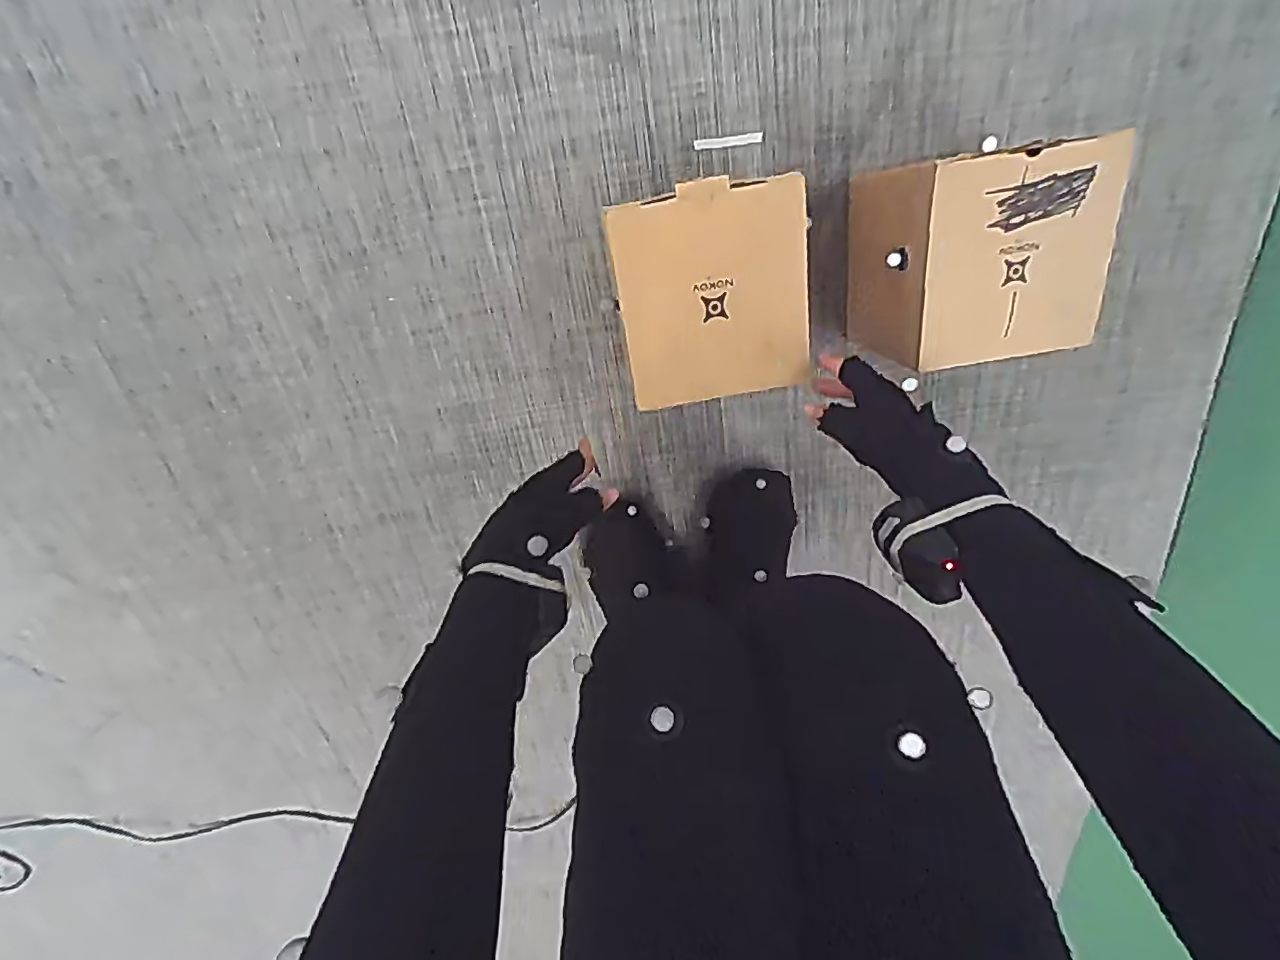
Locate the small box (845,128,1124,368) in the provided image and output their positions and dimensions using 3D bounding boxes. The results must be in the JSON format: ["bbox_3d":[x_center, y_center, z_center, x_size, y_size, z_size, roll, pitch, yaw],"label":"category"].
[{"bbox_3d":[0.319,-0.228,0.544,0.168,0.176,0.179,-10,116,0],"label":"small box"}]

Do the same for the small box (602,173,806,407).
[{"bbox_3d":[0.058,-0.192,0.543,0.168,0.176,0.179,-11,115,0],"label":"small box"}]
